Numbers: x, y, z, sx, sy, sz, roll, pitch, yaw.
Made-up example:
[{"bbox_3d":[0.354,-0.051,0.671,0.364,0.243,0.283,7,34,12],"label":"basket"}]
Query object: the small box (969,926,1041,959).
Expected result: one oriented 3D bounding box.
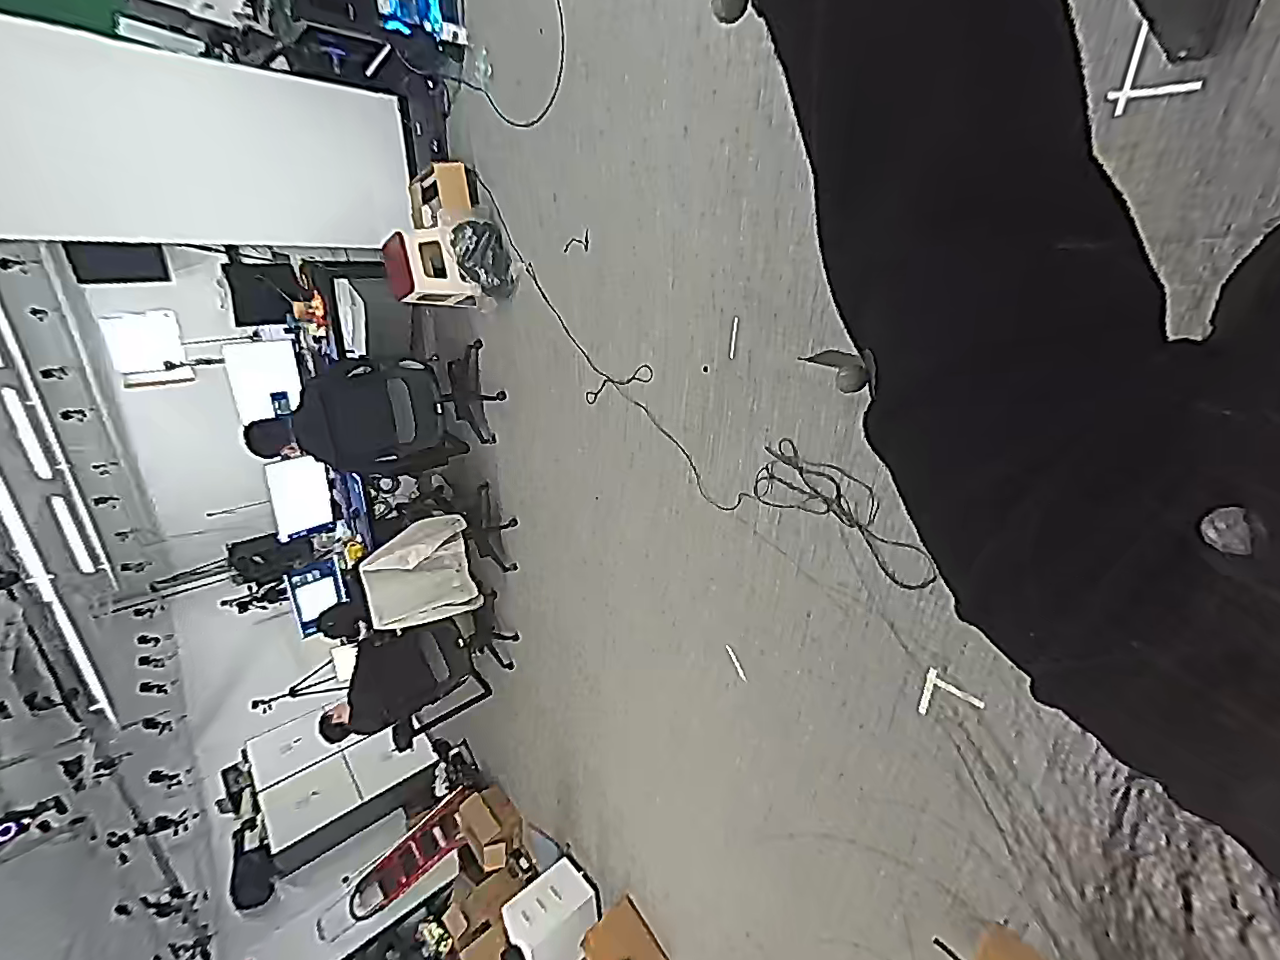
[{"bbox_3d":[1.083,1.483,1.603,0.179,0.176,0.168,26,123,41],"label":"small box"}]
